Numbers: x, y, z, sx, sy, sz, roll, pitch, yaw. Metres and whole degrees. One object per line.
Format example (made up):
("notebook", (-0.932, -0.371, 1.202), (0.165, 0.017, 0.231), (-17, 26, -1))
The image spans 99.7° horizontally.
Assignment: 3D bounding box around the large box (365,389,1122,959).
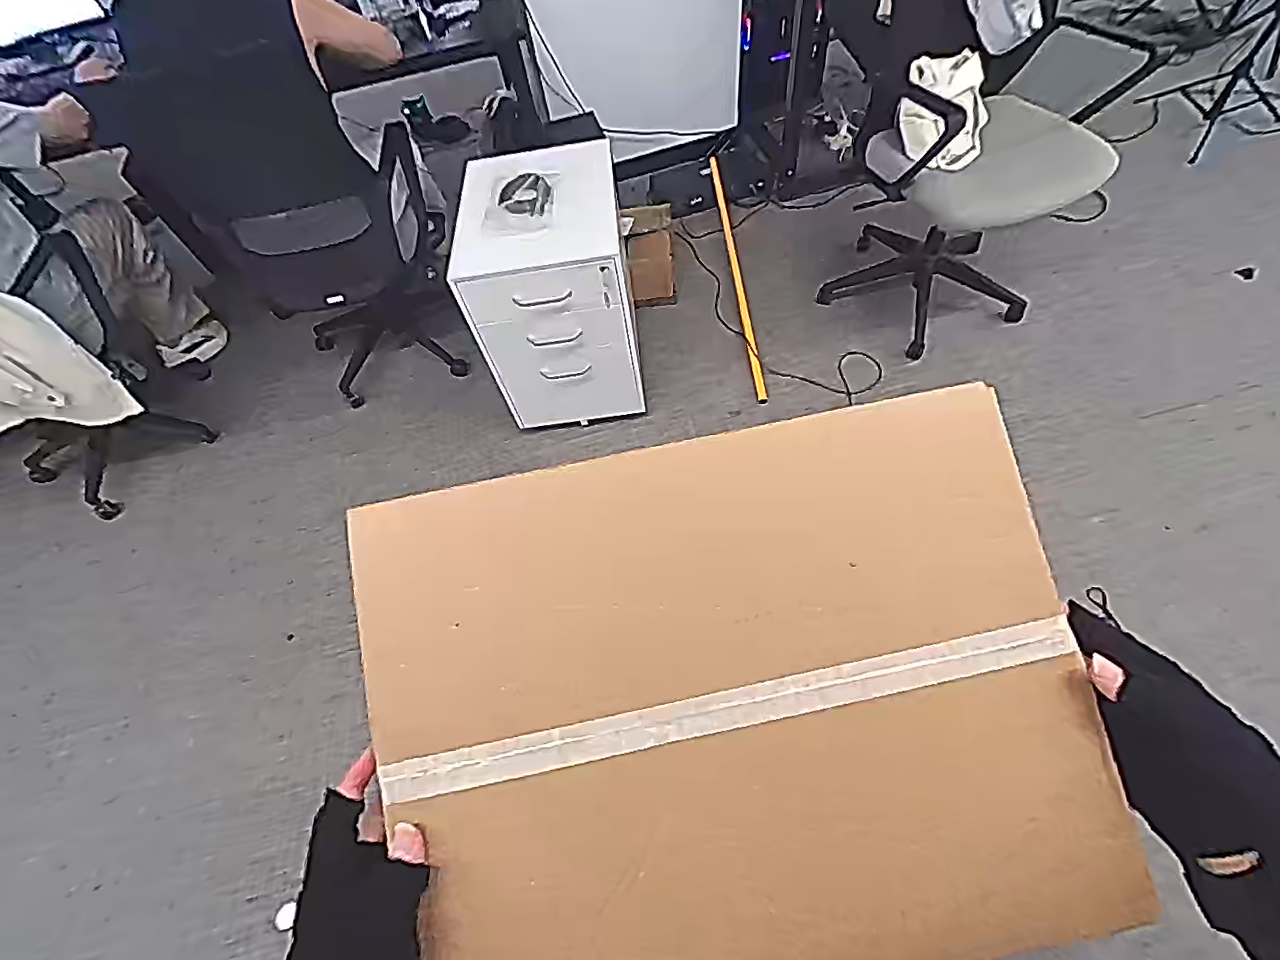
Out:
("large box", (0.053, 0.152, 0.470), (0.408, 0.320, 0.320), (-12, 80, -2))
